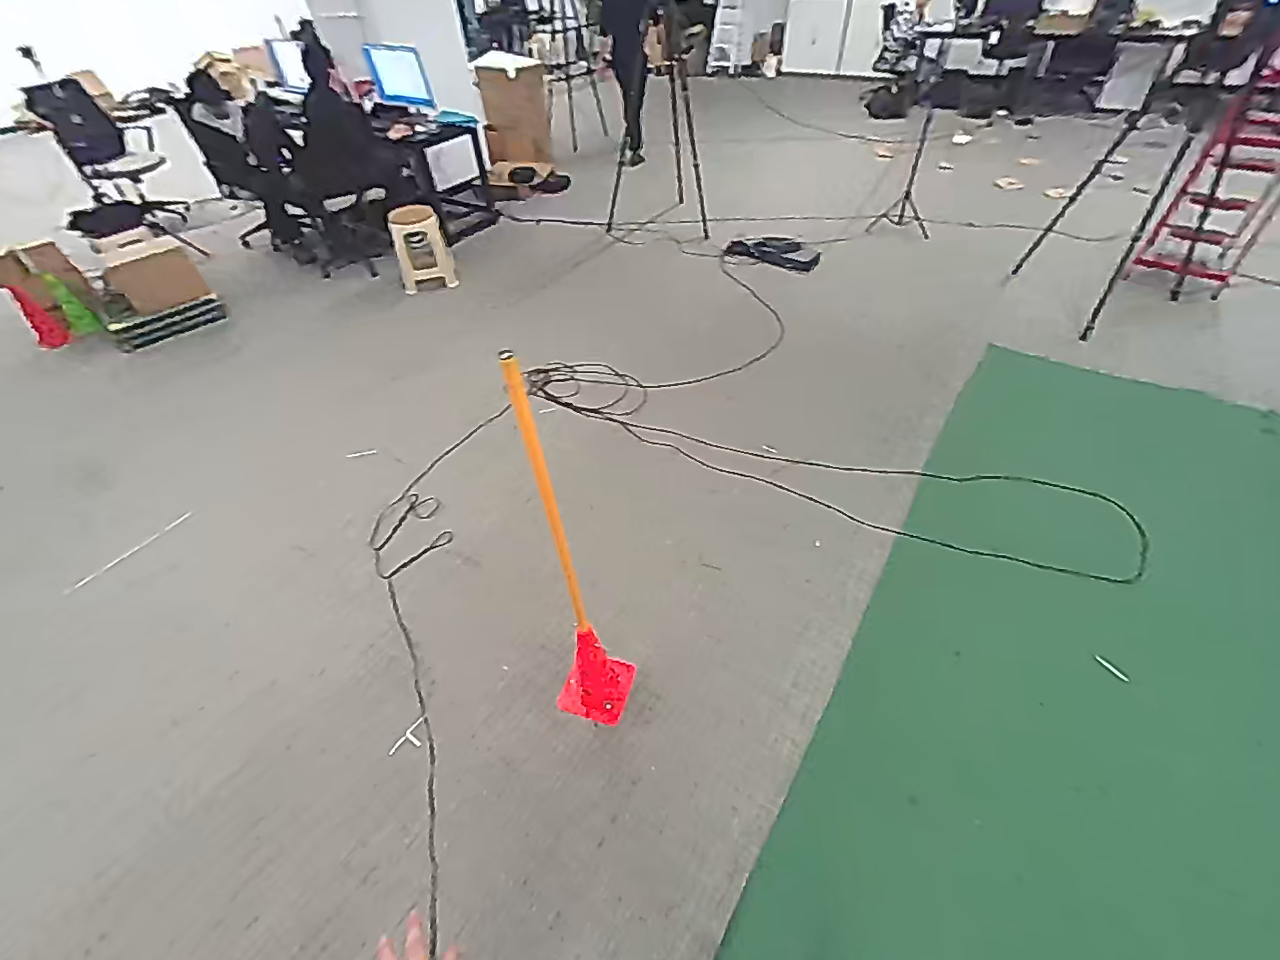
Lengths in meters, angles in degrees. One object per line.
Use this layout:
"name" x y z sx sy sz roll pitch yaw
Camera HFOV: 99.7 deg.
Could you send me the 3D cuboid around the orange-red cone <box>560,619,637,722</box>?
"orange-red cone" -0.132 0.504 1.545 0.198 0.360 0.199 13 46 15
